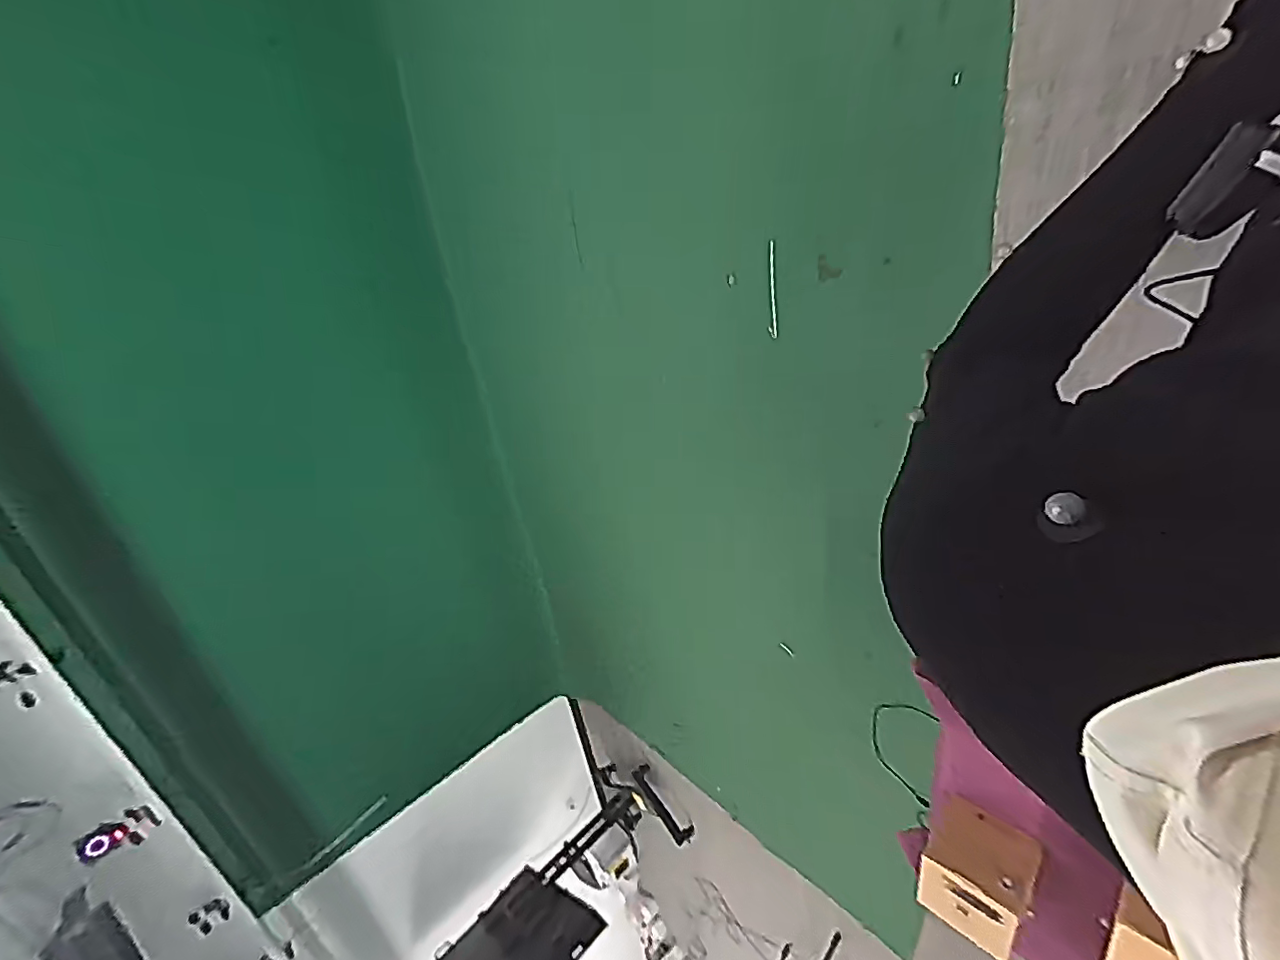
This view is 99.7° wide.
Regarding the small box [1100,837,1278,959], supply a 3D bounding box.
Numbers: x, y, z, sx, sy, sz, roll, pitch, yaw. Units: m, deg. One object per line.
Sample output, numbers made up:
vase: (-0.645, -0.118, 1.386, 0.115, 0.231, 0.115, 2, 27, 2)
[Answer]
small box: (0.855, 0.722, 0.847, 0.168, 0.176, 0.179, 15, 124, 46)
